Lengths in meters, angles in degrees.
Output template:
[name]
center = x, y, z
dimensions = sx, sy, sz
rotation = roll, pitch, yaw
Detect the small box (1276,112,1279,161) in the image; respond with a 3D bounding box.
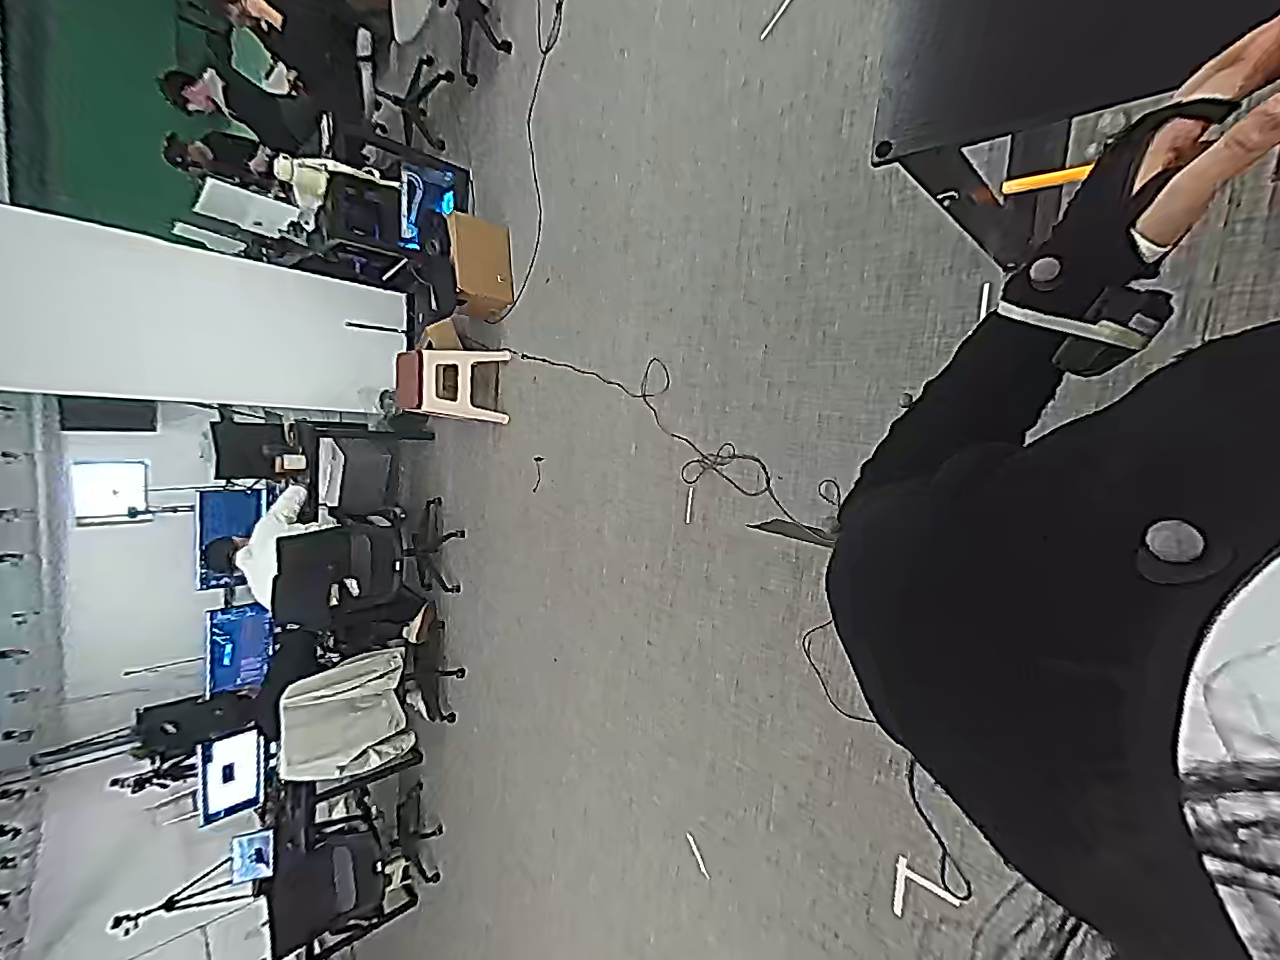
[small box]
center = 0.434, -0.264, 0.245
dimensions = 0.168, 0.176, 0.179
rotation = 12, 107, 45
